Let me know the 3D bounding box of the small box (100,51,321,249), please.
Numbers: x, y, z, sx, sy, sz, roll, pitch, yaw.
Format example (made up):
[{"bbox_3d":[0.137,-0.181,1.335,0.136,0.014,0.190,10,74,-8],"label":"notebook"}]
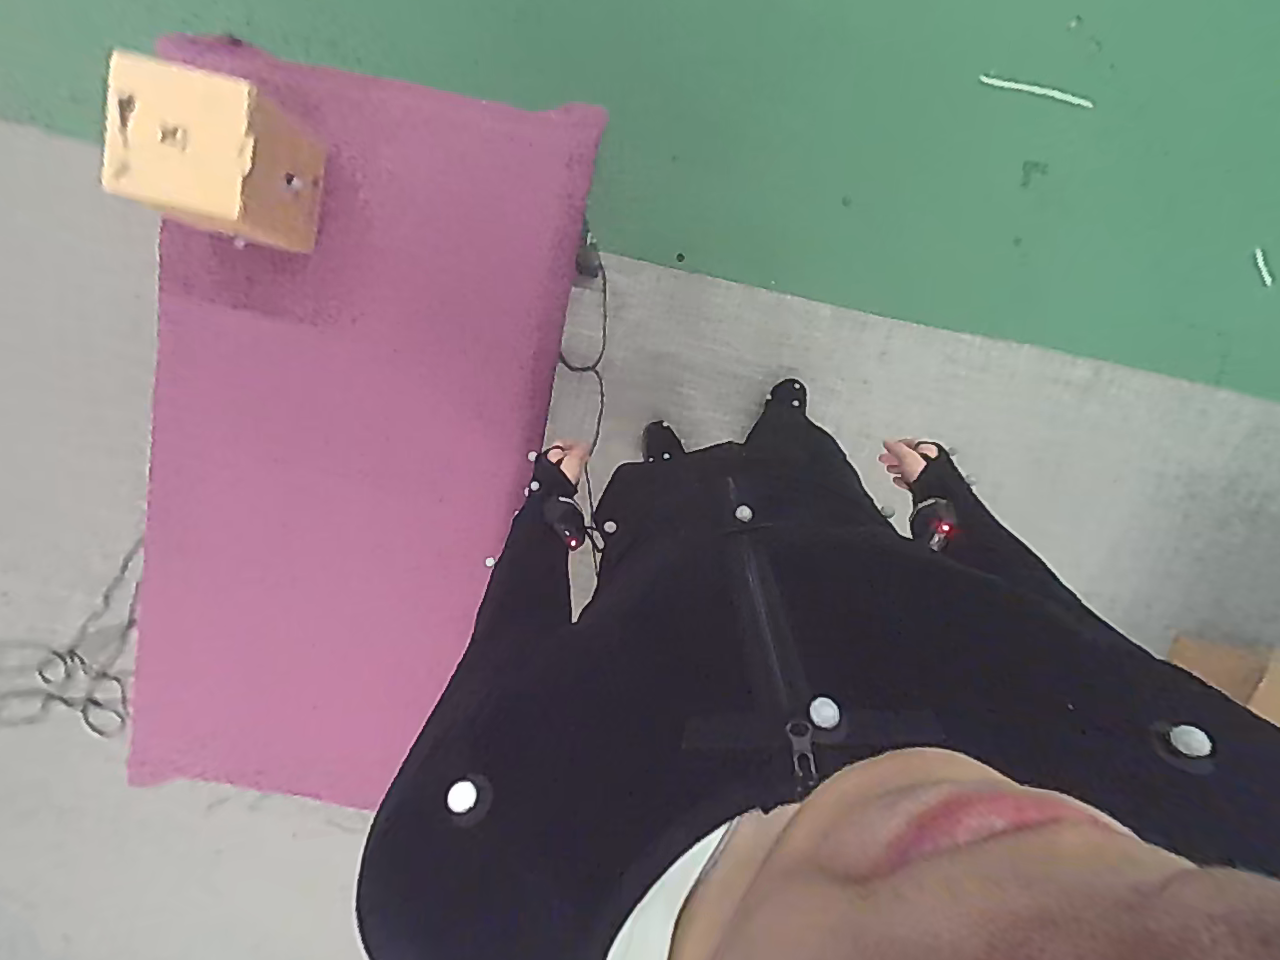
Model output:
[{"bbox_3d":[-0.582,-0.440,0.755,0.179,0.176,0.168,12,98,-3],"label":"small box"}]
